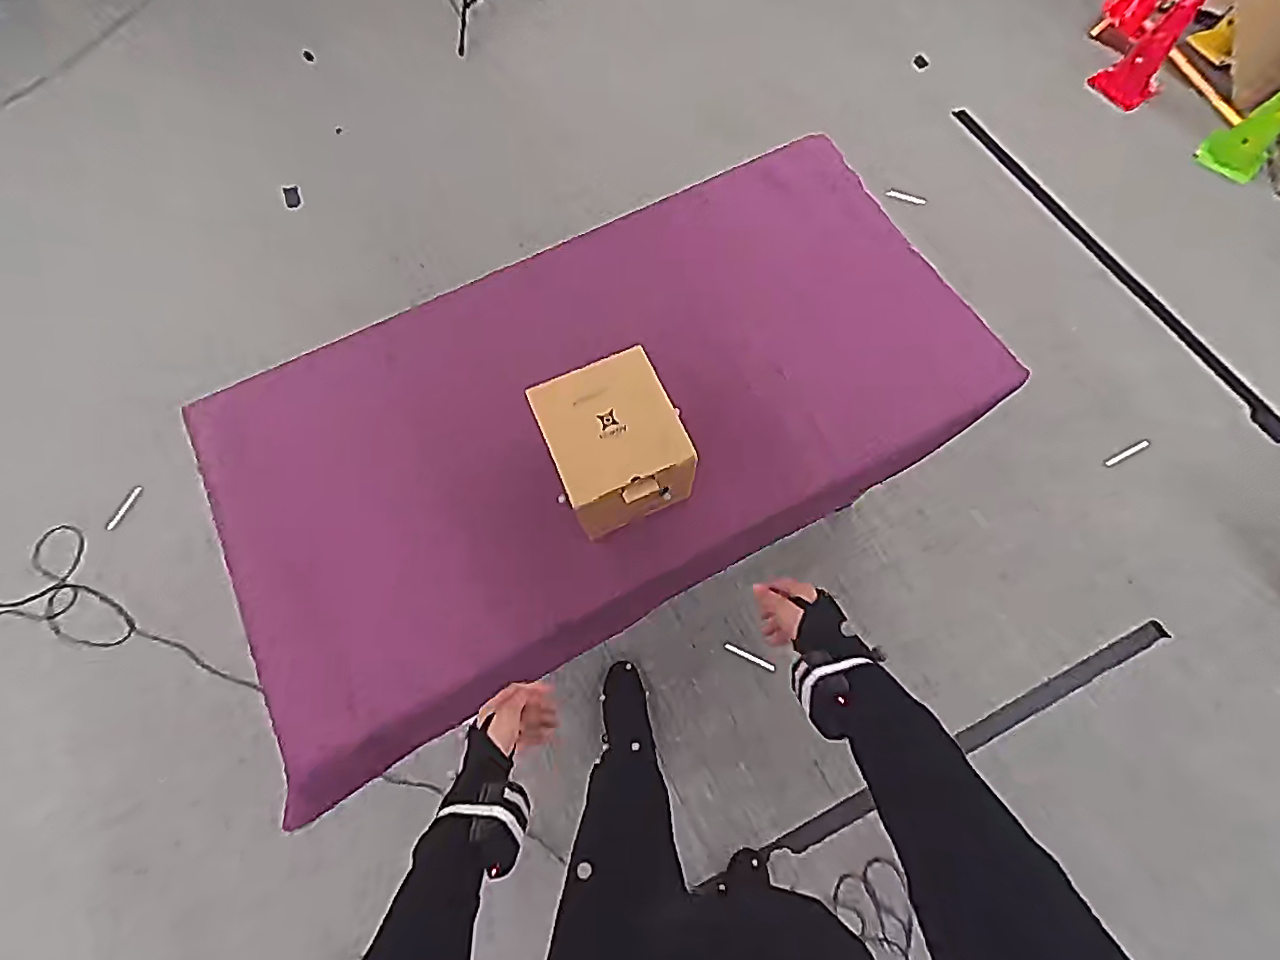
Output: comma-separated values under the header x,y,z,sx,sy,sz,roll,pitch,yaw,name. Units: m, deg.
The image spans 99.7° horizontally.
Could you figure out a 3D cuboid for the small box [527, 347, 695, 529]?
x,y,z,sx,sy,sz,roll,pitch,yaw,name
-0.036,-0.045,0.748,0.168,0.176,0.179,-23,72,-7,small box
